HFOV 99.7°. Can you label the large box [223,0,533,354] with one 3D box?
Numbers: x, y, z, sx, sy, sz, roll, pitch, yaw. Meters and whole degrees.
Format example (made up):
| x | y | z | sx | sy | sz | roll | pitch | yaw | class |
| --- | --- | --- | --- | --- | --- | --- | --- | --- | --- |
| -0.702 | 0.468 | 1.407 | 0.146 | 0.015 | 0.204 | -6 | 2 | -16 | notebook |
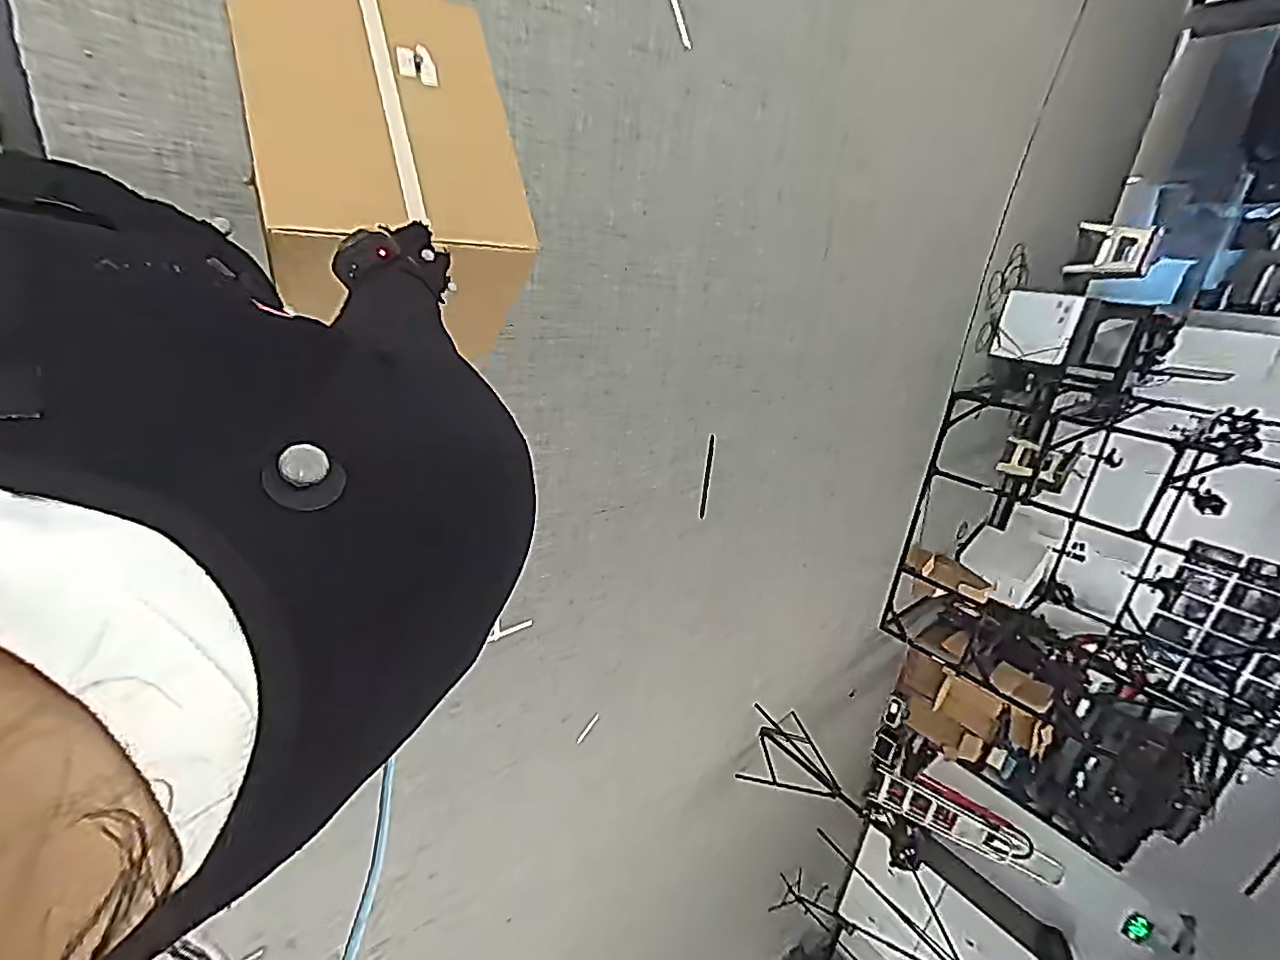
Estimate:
| x | y | z | sx | sy | sz | roll | pitch | yaw | class |
| --- | --- | --- | --- | --- | --- | --- | --- | --- | --- |
| -0.399 | -0.446 | 0.825 | 0.320 | 0.320 | 0.408 | -10 | 80 | -32 | large box |
